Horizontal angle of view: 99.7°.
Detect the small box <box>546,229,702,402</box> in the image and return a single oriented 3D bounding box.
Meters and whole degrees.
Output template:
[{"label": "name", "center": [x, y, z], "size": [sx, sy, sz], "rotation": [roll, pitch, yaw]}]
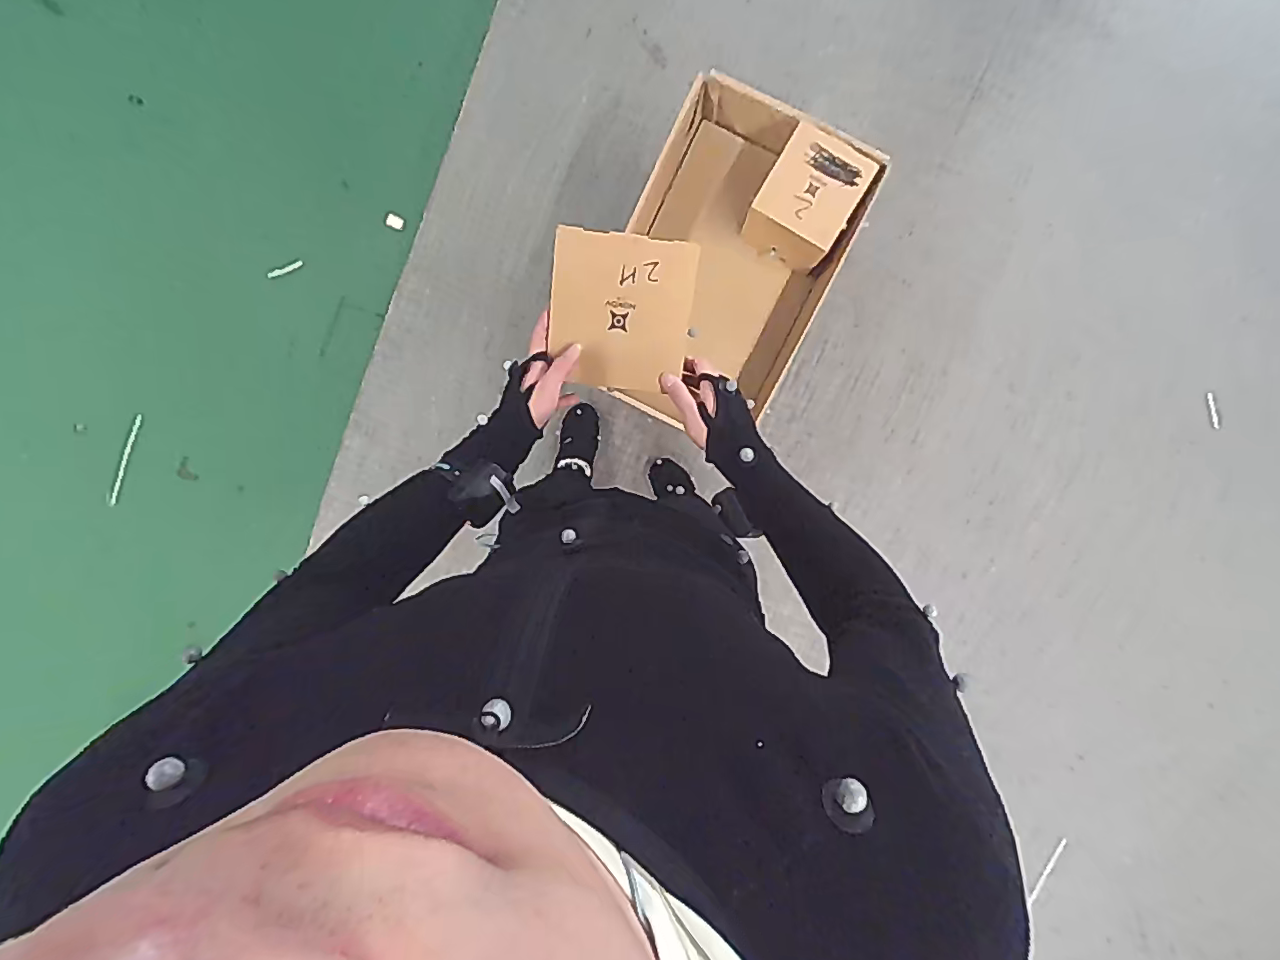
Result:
[{"label": "small box", "center": [-0.021, -0.209, 0.703], "size": [0.168, 0.176, 0.179], "rotation": [7, 106, -3]}]
